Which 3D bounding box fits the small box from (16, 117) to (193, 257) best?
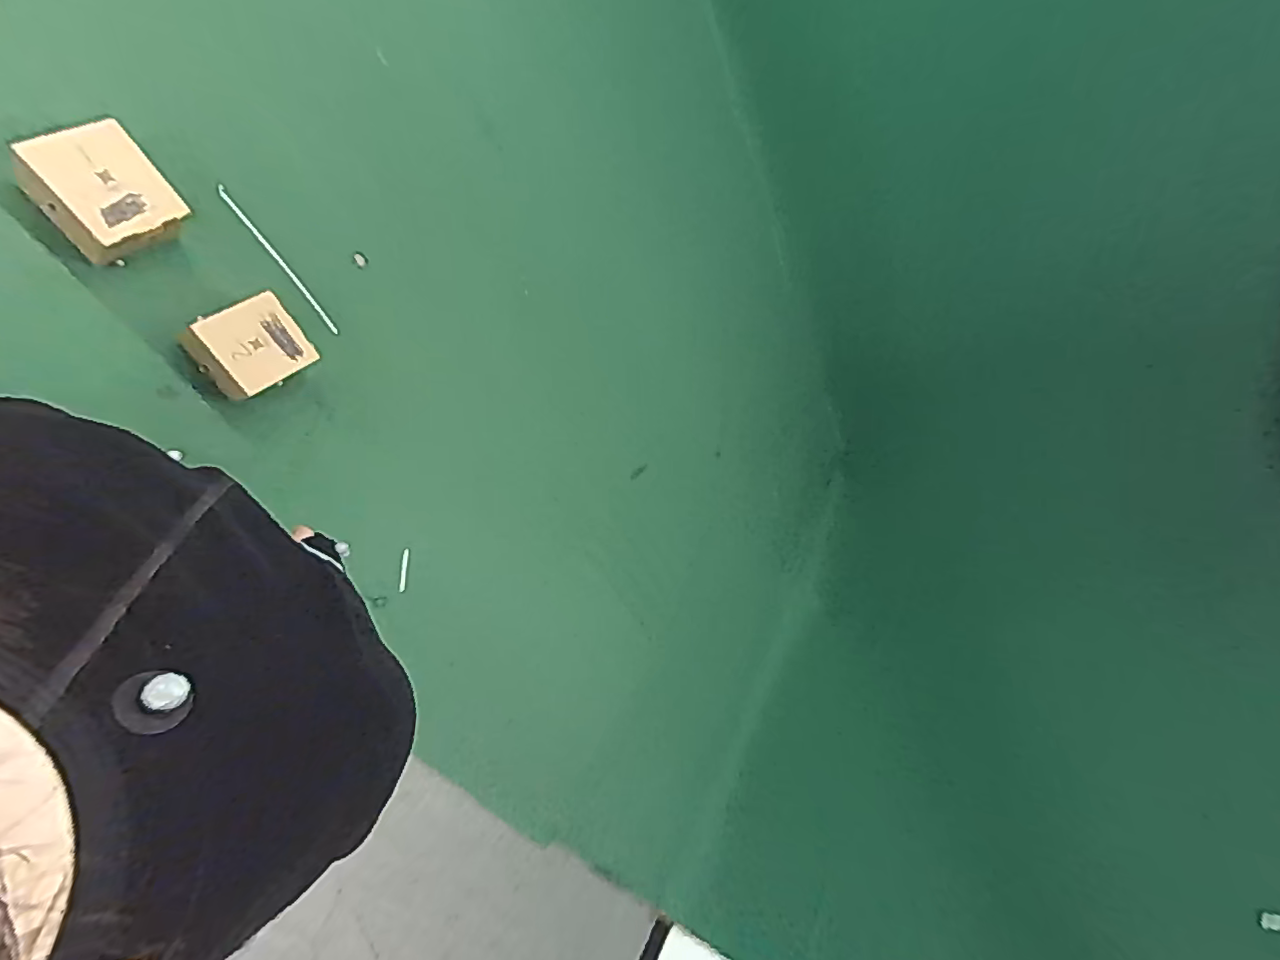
[{"bbox_3d":[-1.016,-0.548,1.037,0.168,0.176,0.179,-51,125,-33],"label":"small box"}]
